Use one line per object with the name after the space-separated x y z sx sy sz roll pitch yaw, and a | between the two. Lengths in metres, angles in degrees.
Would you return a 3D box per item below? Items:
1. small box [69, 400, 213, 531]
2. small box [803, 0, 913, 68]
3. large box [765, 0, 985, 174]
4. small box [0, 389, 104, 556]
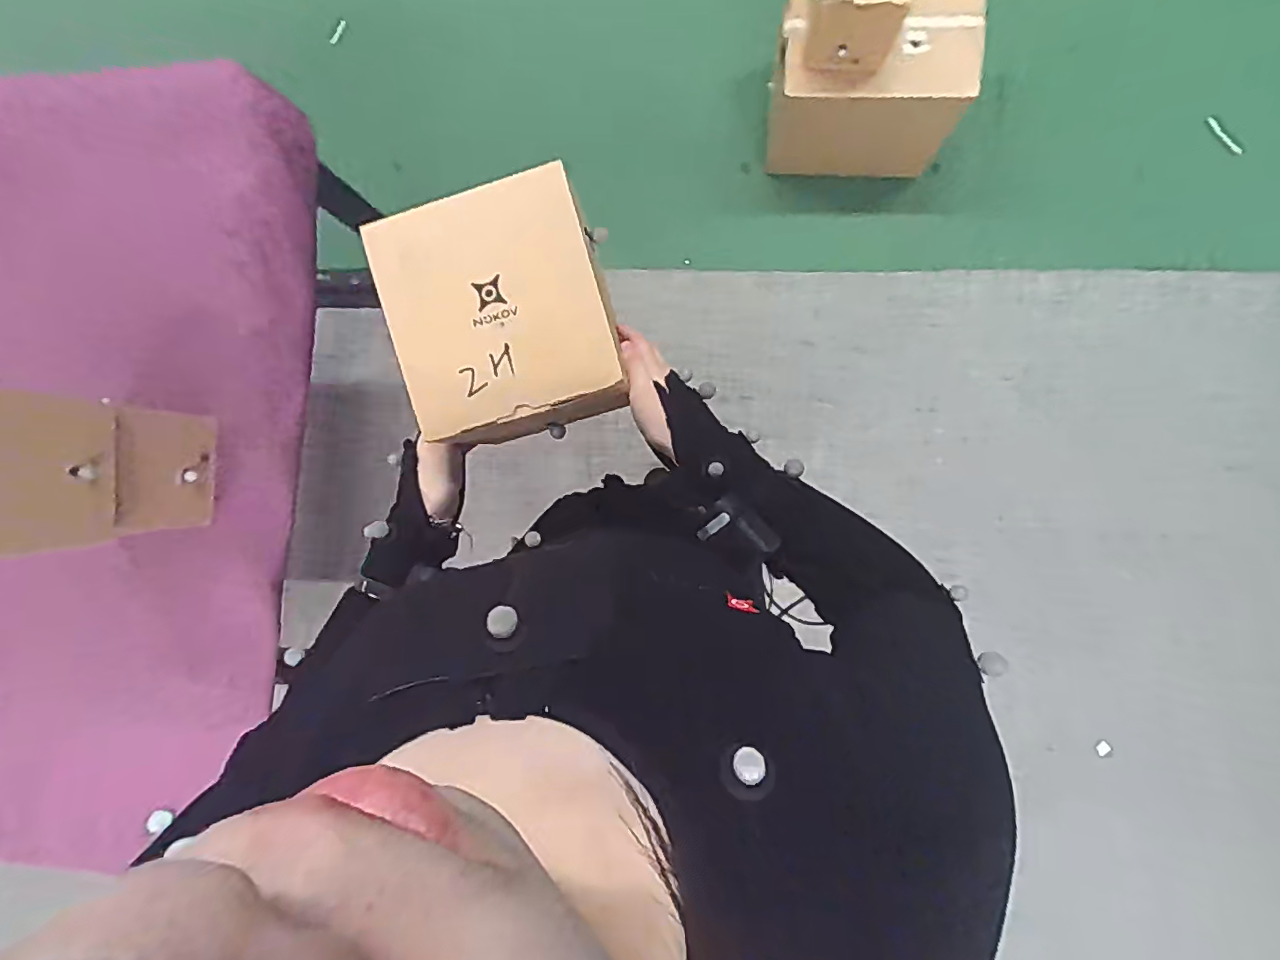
-0.745 -0.020 0.745 0.179 0.176 0.168 4 91 5 | small box
0.424 -0.955 1.051 0.168 0.176 0.179 6 92 4 | small box
0.526 -0.964 1.287 0.408 0.320 0.320 4 91 4 | large box
-0.732 -0.010 0.579 0.168 0.176 0.179 0 90 5 | small box
